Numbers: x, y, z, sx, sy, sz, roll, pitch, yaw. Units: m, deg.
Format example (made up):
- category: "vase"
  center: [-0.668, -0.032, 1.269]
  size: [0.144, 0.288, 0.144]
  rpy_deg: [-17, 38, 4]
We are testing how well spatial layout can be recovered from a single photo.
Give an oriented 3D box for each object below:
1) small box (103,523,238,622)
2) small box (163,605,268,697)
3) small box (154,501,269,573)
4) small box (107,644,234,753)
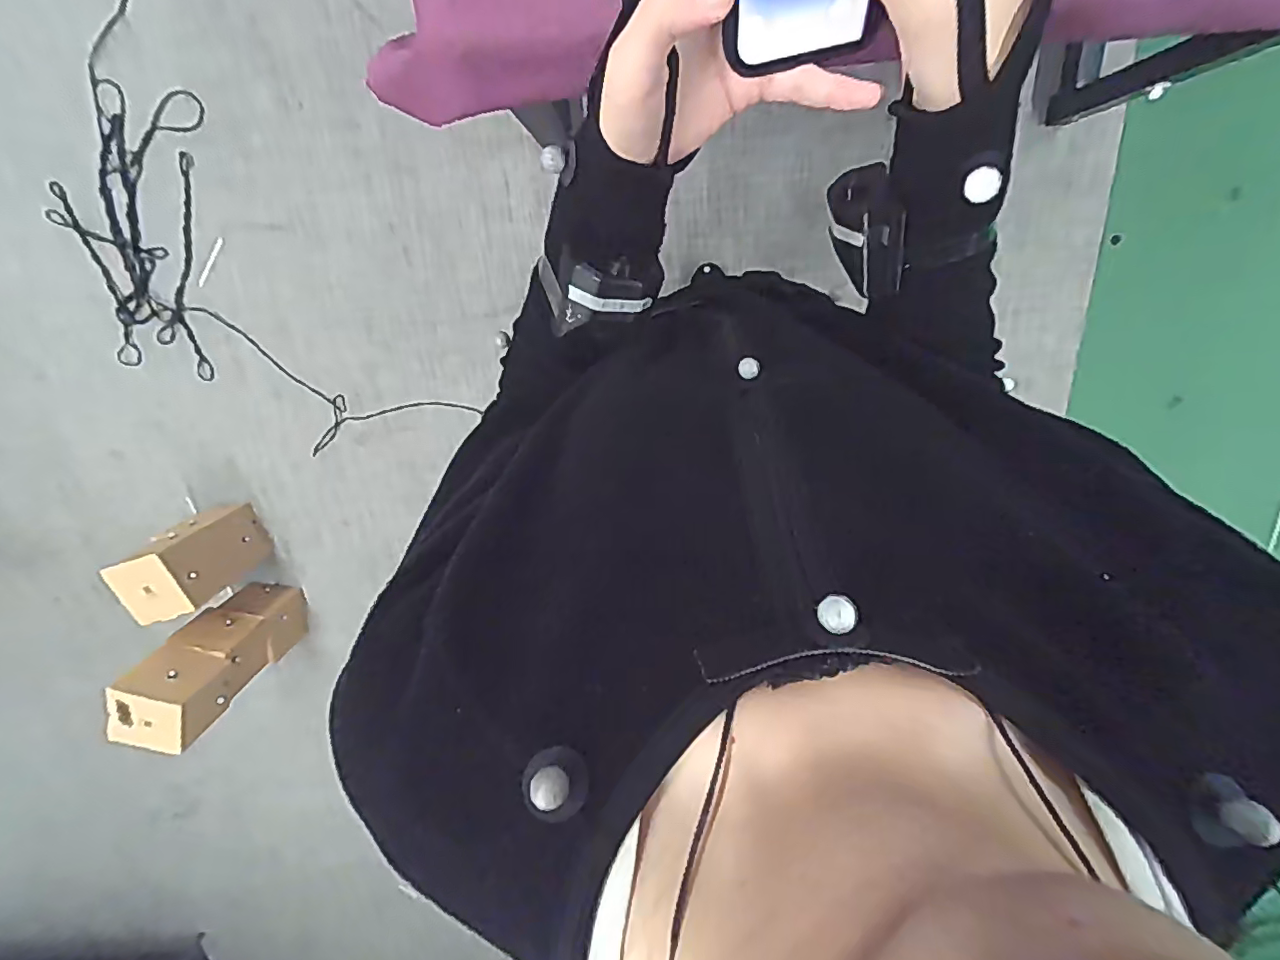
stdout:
- category: "small box"
  center: [-1.213, 0.238, 1.415]
  size: [0.168, 0.176, 0.179]
  rpy_deg: [-15, 110, 6]
- category: "small box"
  center: [-1.174, 0.480, 1.508]
  size: [0.168, 0.176, 0.179]
  rpy_deg: [12, 109, -2]
- category: "small box"
  center: [-1.223, 0.176, 1.566]
  size: [0.179, 0.176, 0.168]
  rpy_deg: [-11, 110, 6]
- category: "small box"
  center: [-1.171, 0.539, 1.355]
  size: [0.179, 0.176, 0.168]
  rpy_deg: [17, 110, -5]
